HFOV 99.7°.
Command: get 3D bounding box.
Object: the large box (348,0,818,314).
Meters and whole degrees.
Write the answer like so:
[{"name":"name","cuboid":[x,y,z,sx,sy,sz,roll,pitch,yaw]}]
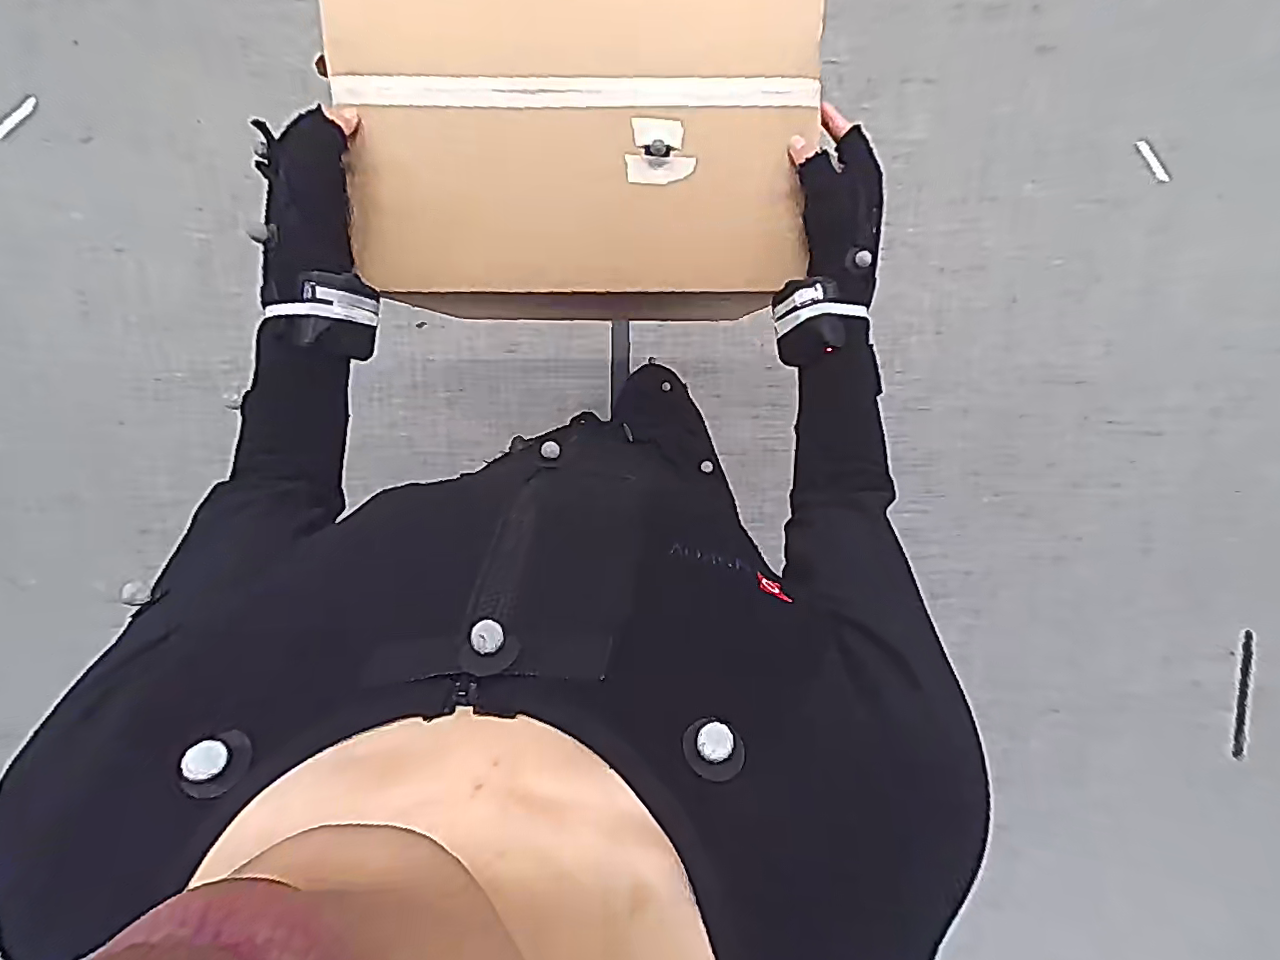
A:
[{"name":"large box","cuboid":[-0.052,-0.367,0.616,0.408,0.320,0.320,-1,103,-2]}]
